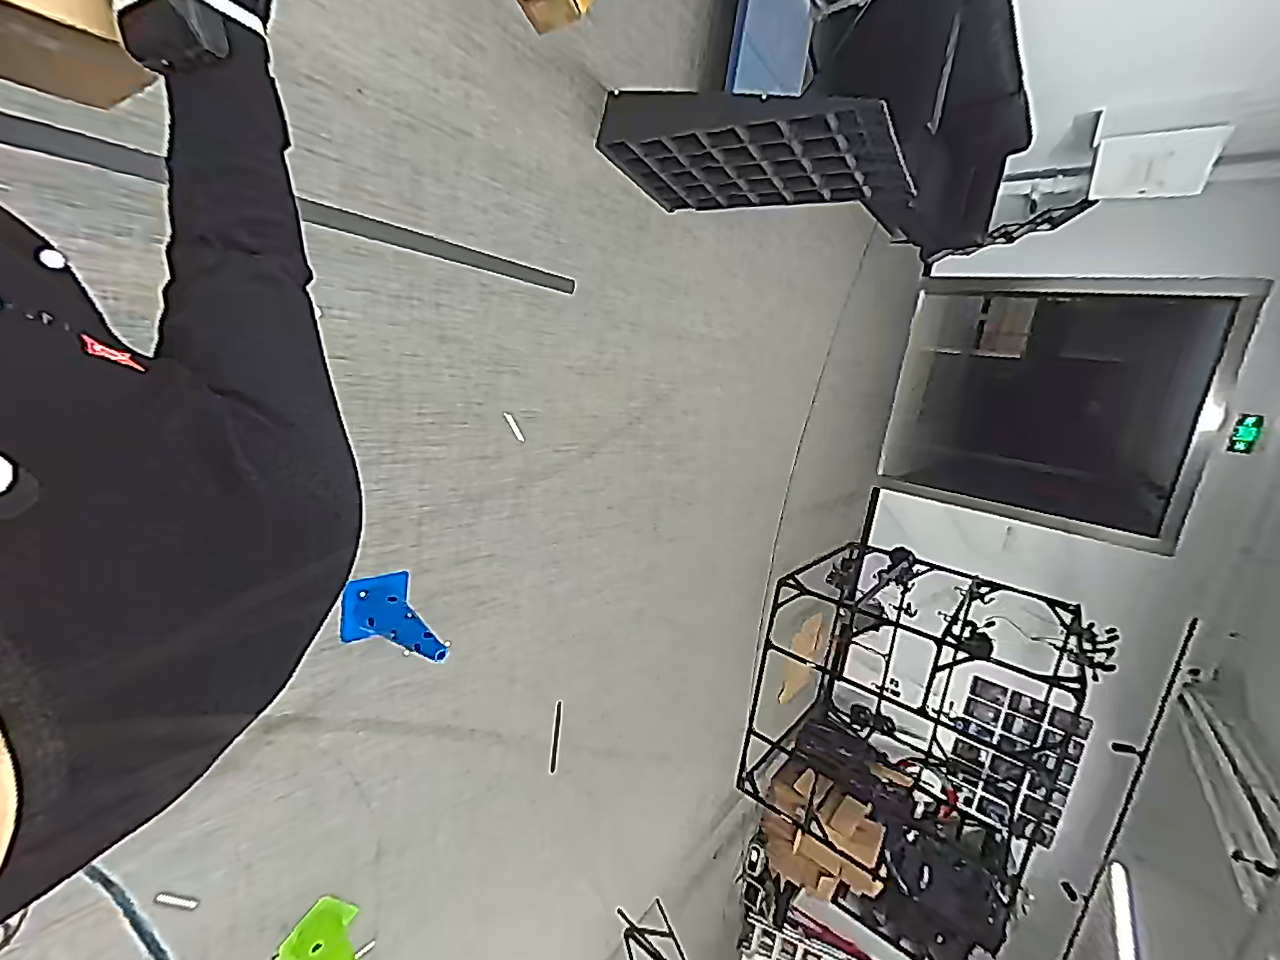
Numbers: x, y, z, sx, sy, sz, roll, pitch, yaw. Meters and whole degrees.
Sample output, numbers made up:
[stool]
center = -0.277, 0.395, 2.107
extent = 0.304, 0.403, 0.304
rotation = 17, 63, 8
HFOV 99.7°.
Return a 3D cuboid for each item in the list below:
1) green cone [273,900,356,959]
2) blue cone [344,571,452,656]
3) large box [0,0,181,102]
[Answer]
[green cone]
center = -0.916, 1.523, 1.657
extent = 0.202, 0.368, 0.200
rotation = -50, 139, -31
[blue cone]
center = -0.679, 0.420, 1.566
extent = 0.192, 0.380, 0.193
rotation = -2, 105, -54
[large box]
center = -0.551, -0.471, 0.287
extent = 0.408, 0.320, 0.320
rotation = -10, 115, -51
